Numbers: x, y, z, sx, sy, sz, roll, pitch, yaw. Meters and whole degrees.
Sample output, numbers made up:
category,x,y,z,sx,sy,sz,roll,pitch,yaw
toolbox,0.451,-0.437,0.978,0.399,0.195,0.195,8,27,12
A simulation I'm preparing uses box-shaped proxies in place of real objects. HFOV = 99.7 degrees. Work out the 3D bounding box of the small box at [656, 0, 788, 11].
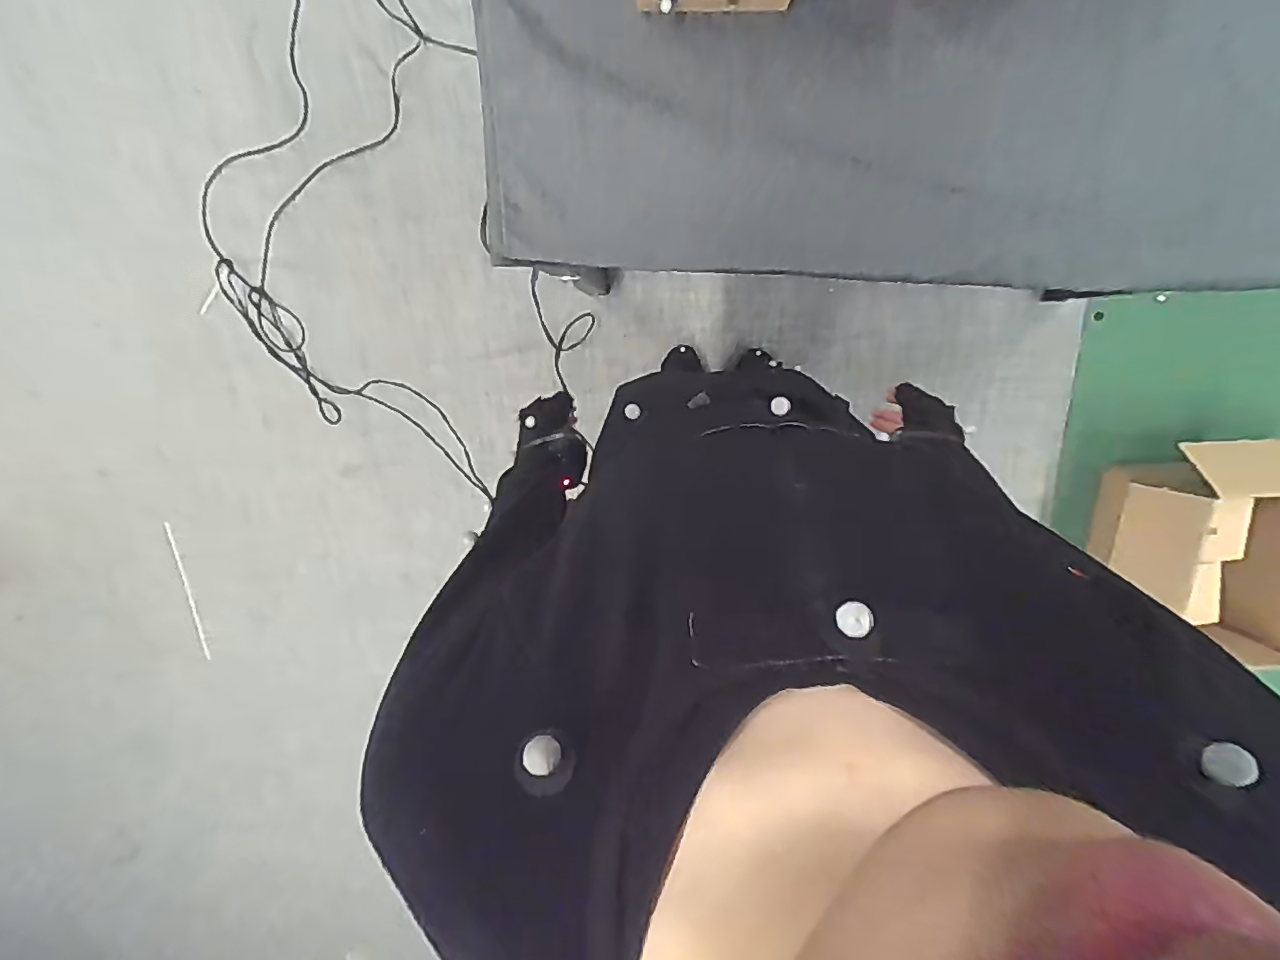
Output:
category,x,y,z,sx,sy,sz,roll,pitch,yaw
small box,0.081,-0.580,0.502,0.168,0.176,0.179,2,104,2
